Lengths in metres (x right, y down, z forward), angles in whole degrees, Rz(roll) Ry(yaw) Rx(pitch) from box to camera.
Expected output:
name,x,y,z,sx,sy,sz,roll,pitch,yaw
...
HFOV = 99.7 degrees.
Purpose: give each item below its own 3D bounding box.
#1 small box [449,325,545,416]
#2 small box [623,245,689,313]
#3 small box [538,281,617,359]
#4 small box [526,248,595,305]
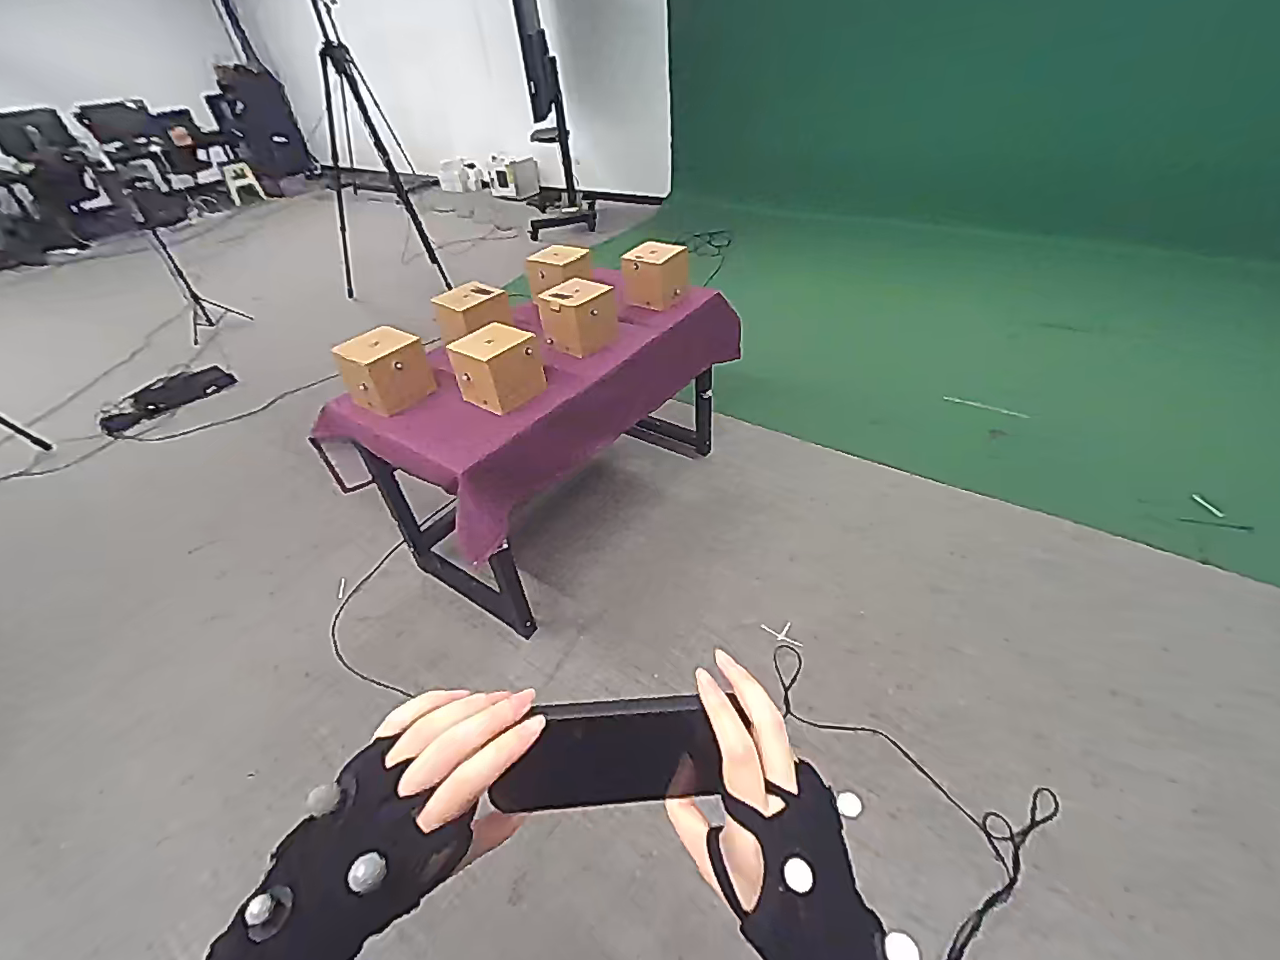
name,x,y,z,sx,sy,sz,roll,pitch,yaw
small box,-0.383,-0.298,1.477,0.168,0.176,0.179,24,47,30
small box,0.059,-0.710,1.908,0.168,0.176,0.179,22,47,29
small box,-0.187,-0.500,1.690,0.168,0.176,0.179,26,48,31
small box,-0.282,-0.725,1.963,0.179,0.176,0.168,21,47,27
